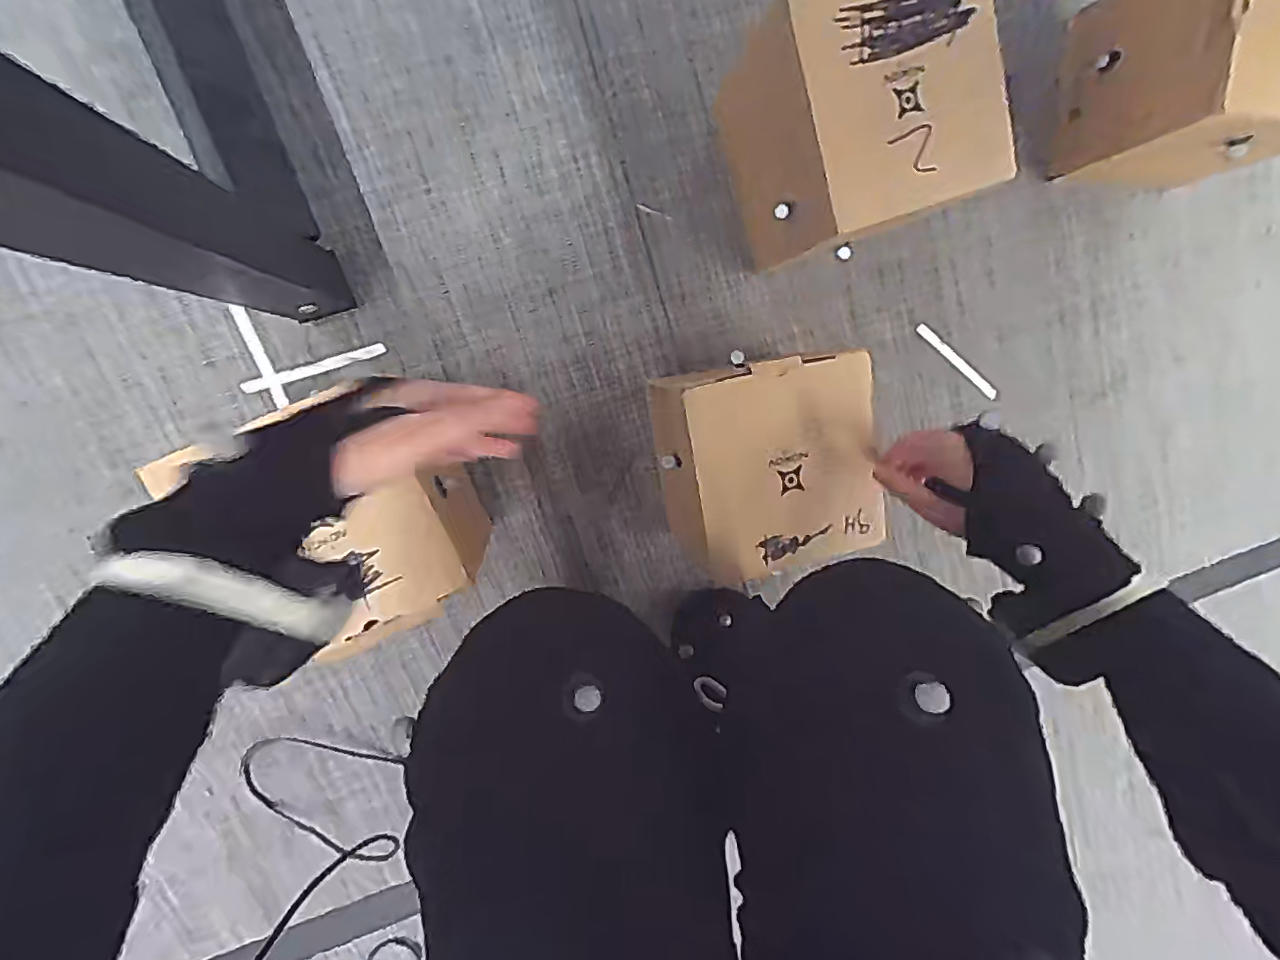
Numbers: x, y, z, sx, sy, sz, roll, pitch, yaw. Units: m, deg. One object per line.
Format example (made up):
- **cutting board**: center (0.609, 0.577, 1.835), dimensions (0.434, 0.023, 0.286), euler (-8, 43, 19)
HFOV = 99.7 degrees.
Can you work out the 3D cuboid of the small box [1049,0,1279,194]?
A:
- **small box**: center (0.570, -0.404, 0.545), dimensions (0.179, 0.176, 0.168), euler (-2, 101, -9)
